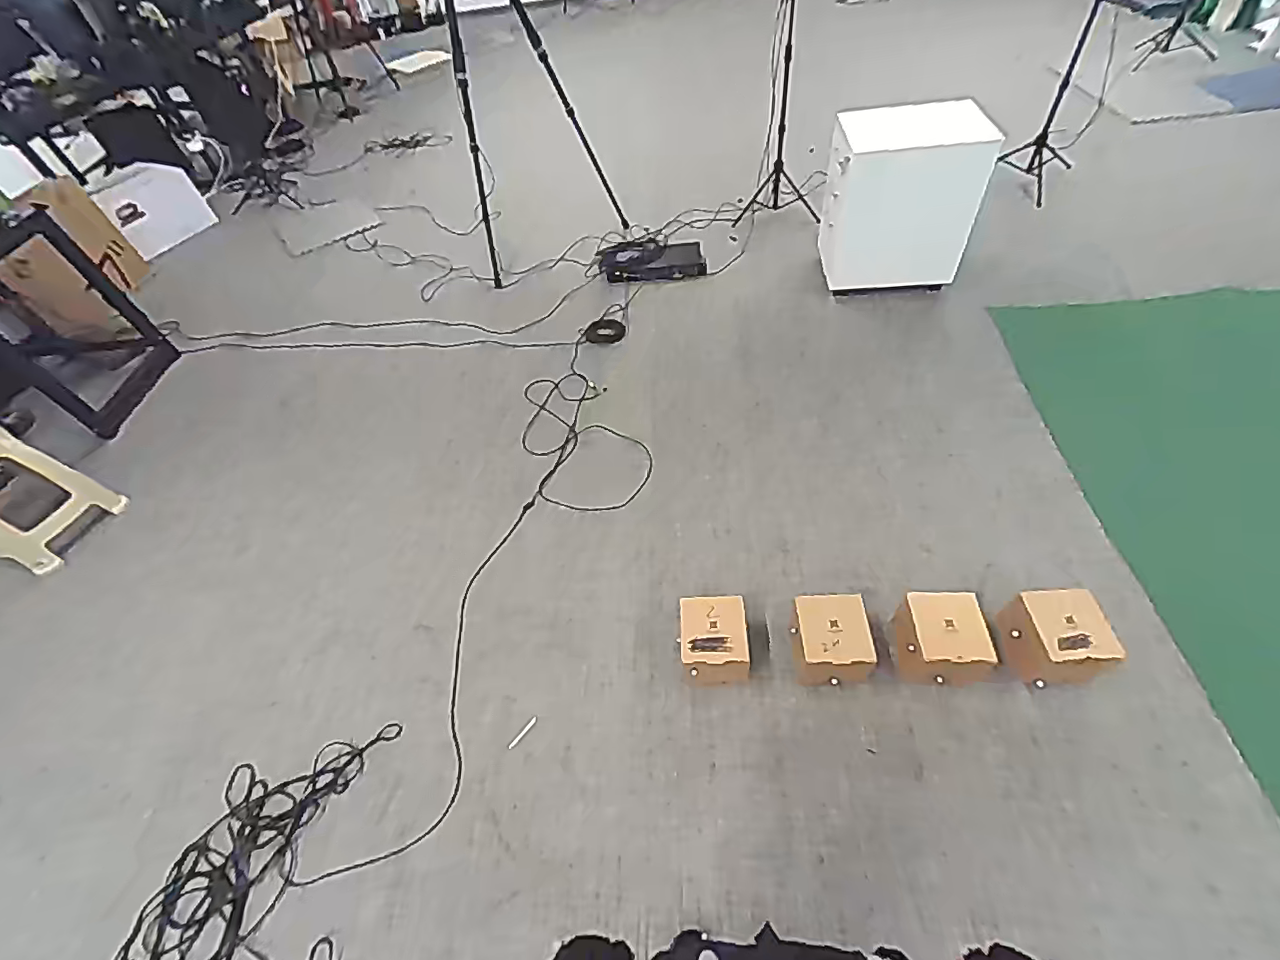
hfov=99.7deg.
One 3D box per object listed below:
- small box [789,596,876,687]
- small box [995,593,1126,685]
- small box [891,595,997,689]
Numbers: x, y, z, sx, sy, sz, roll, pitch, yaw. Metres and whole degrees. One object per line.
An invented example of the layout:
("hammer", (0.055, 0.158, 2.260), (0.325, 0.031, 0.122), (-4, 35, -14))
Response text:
("small box", (0.482, 0.415, 1.383), (0.168, 0.176, 0.179), (-3, 52, 7))
("small box", (1.016, 0.395, 1.327), (0.168, 0.176, 0.179), (-4, 51, 5))
("small box", (0.749, 0.406, 1.357), (0.168, 0.176, 0.179), (-1, 52, 7))
